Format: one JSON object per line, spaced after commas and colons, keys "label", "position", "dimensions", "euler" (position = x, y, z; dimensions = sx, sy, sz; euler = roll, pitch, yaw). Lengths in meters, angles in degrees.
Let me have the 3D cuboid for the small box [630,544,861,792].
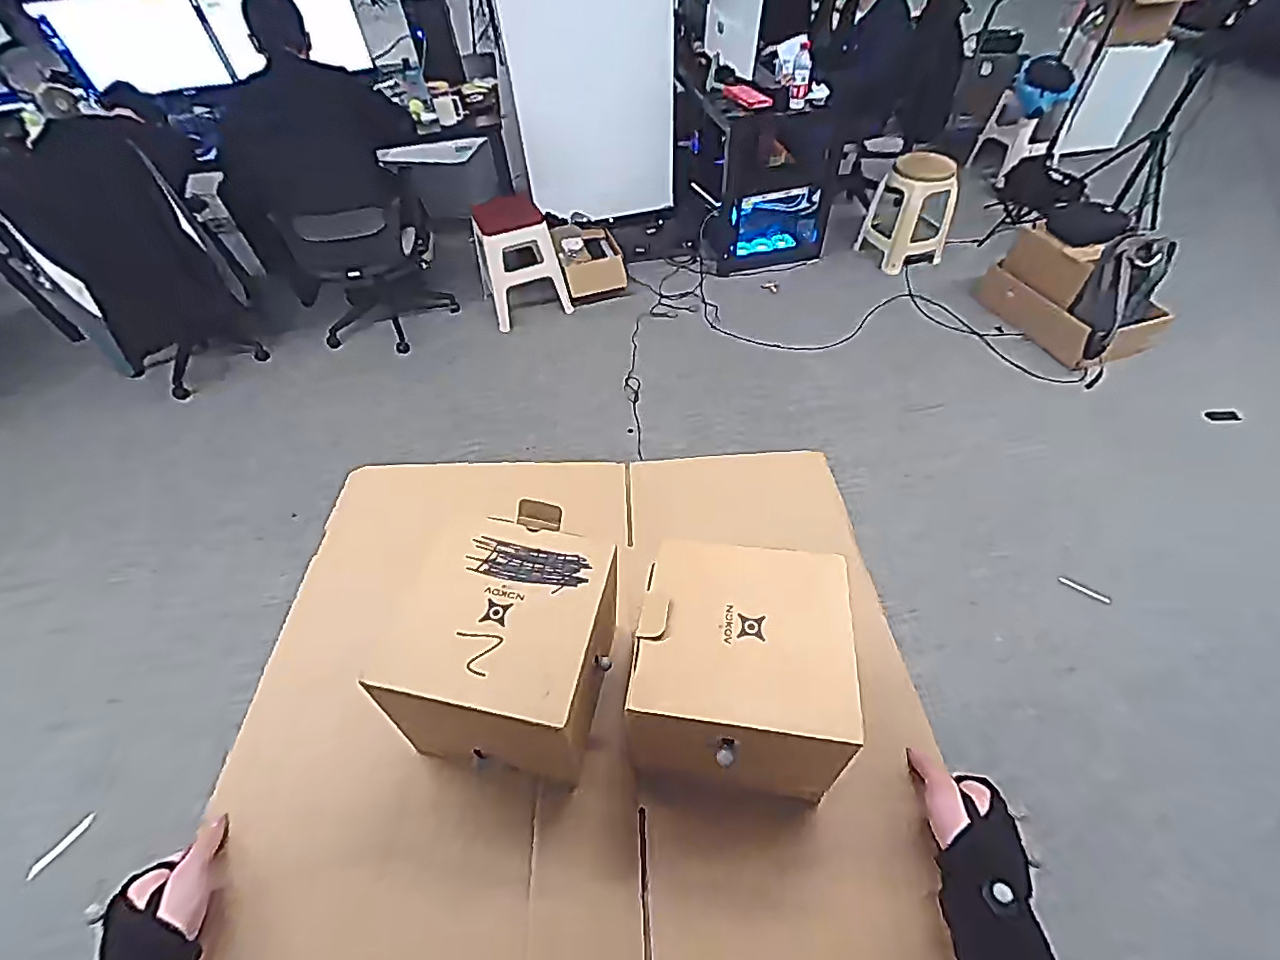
{"label": "small box", "position": [0.095, 0.183, 0.520], "dimensions": [0.179, 0.176, 0.168], "euler": [4, 48, 9]}
